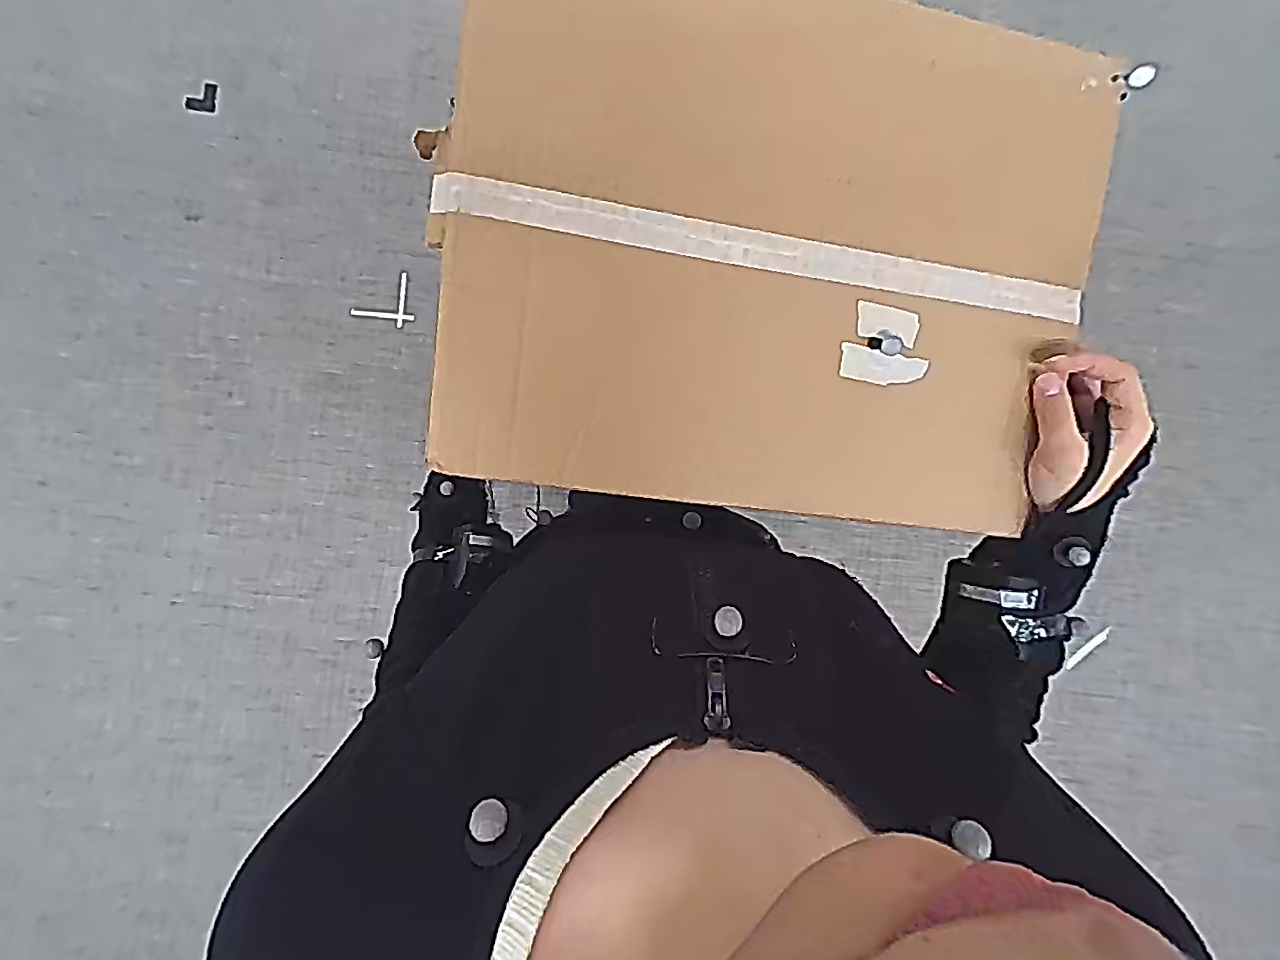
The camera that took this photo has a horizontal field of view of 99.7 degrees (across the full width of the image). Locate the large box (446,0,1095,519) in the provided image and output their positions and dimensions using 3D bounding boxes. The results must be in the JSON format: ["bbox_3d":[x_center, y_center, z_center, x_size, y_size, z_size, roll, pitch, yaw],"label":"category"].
[{"bbox_3d":[0.068,-0.157,0.485,0.408,0.320,0.320,7,96,-11],"label":"large box"}]
